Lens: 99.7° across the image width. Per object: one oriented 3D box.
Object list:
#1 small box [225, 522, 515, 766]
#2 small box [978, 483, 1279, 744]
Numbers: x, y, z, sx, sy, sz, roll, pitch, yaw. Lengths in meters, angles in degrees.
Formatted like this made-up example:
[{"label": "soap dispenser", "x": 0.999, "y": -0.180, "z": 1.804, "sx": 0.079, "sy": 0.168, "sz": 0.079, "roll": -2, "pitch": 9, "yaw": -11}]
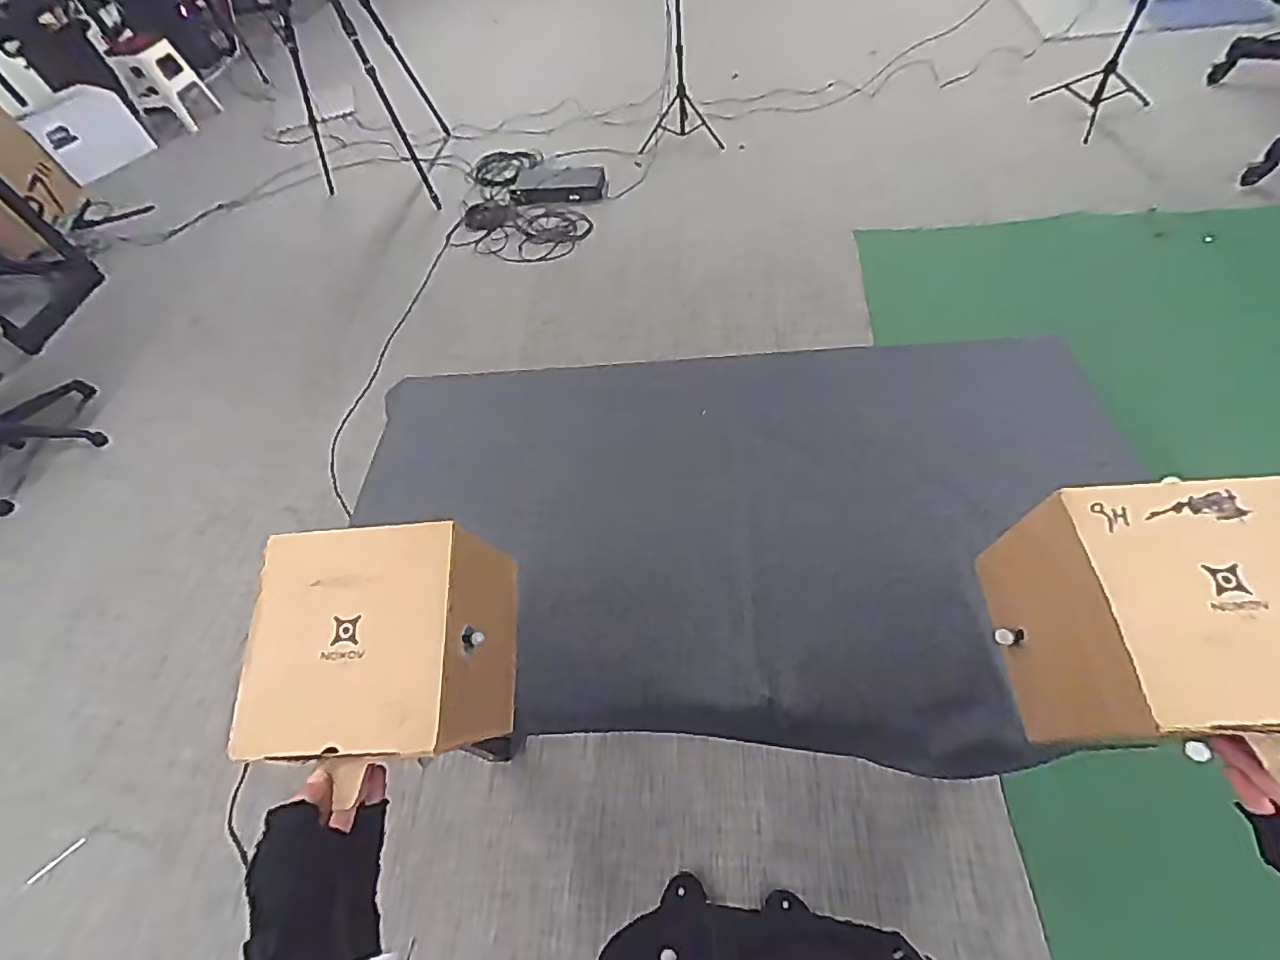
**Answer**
[{"label": "small box", "x": -0.219, "y": 0.148, "z": 0.492, "sx": 0.168, "sy": 0.176, "sz": 0.179, "roll": -5, "pitch": 69, "yaw": 4}, {"label": "small box", "x": 0.417, "y": 0.120, "z": 0.445, "sx": 0.168, "sy": 0.176, "sz": 0.179, "roll": -4, "pitch": 62, "yaw": 6}]
